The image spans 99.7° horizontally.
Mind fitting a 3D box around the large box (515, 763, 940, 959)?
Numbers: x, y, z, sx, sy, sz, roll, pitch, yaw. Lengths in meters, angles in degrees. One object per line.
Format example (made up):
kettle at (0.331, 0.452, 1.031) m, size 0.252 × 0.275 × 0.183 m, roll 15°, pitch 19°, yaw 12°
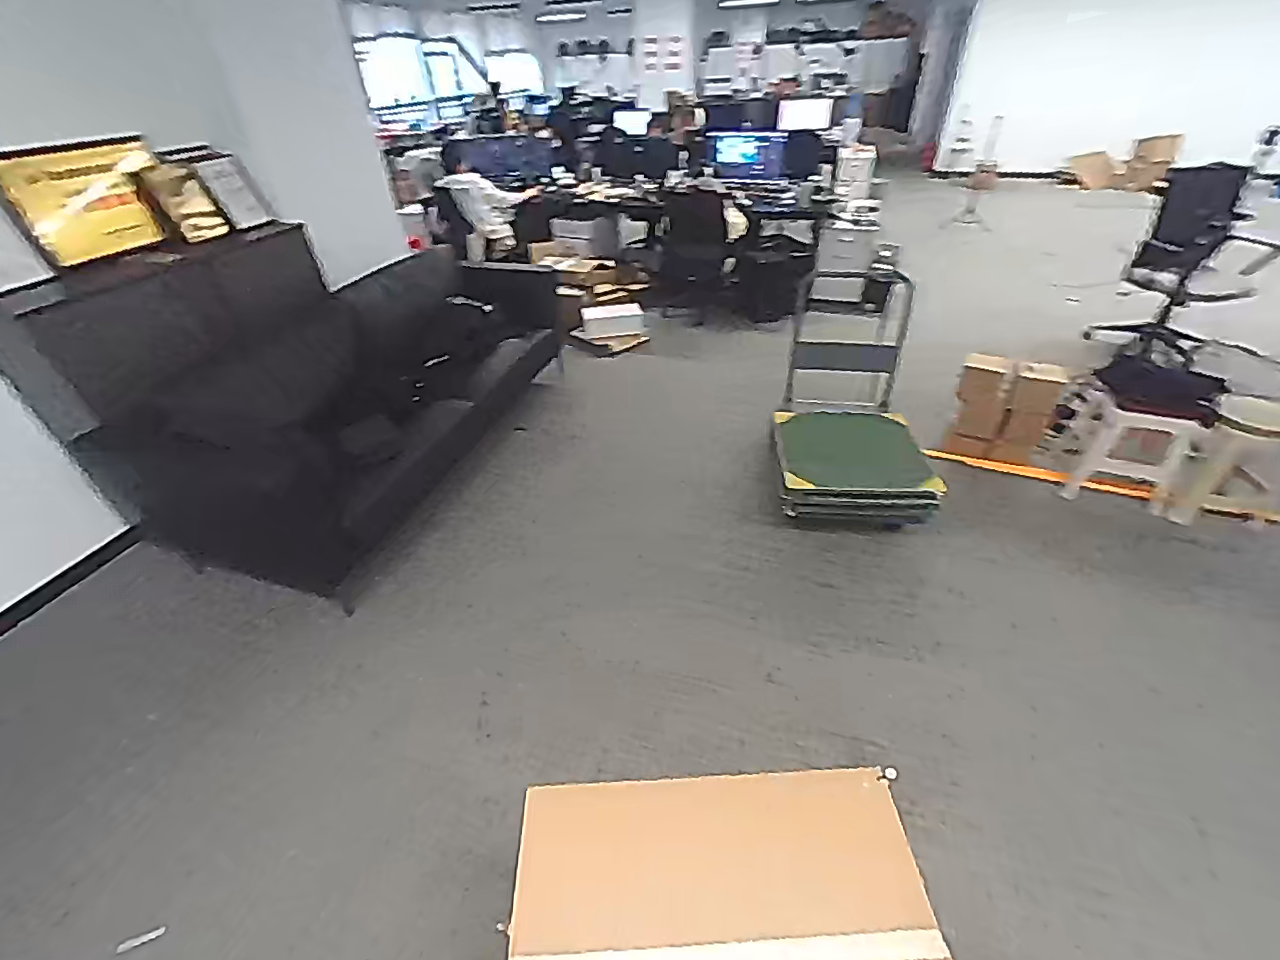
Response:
large box at (0.080, 0.555, 0.604) m, size 0.408 × 0.320 × 0.320 m, roll -3°, pitch 42°, yaw -3°
